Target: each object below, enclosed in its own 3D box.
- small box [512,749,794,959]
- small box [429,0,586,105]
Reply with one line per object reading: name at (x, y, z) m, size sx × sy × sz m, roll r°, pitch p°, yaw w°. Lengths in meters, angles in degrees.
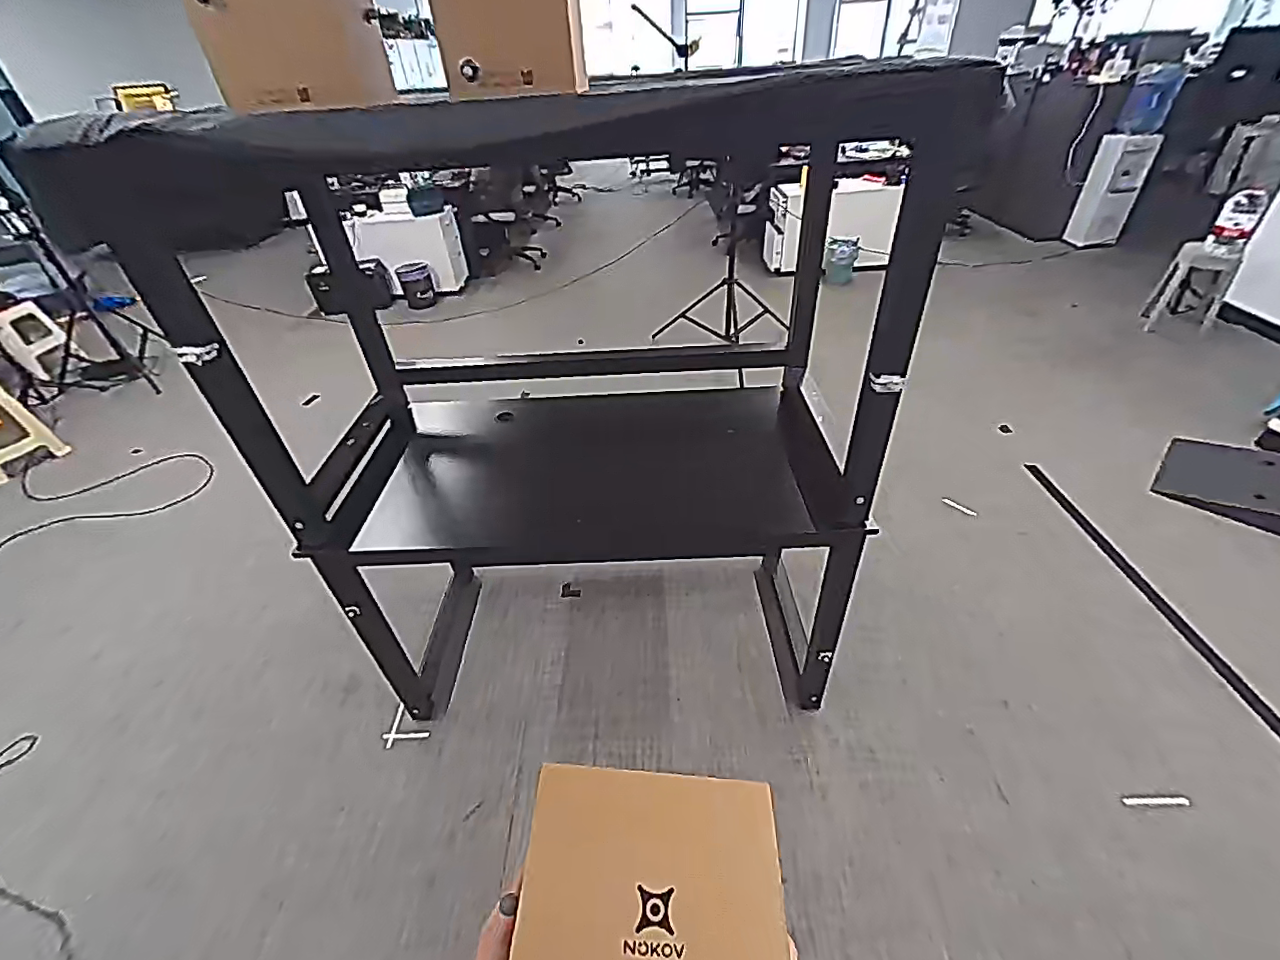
small box at (0.002, 0.319, 0.379) m, size 0.168 × 0.176 × 0.179 m, roll 6°, pitch 42°, yaw -1°
small box at (-0.165, -0.600, 0.707) m, size 0.168 × 0.176 × 0.179 m, roll -2°, pitch 36°, yaw 2°
